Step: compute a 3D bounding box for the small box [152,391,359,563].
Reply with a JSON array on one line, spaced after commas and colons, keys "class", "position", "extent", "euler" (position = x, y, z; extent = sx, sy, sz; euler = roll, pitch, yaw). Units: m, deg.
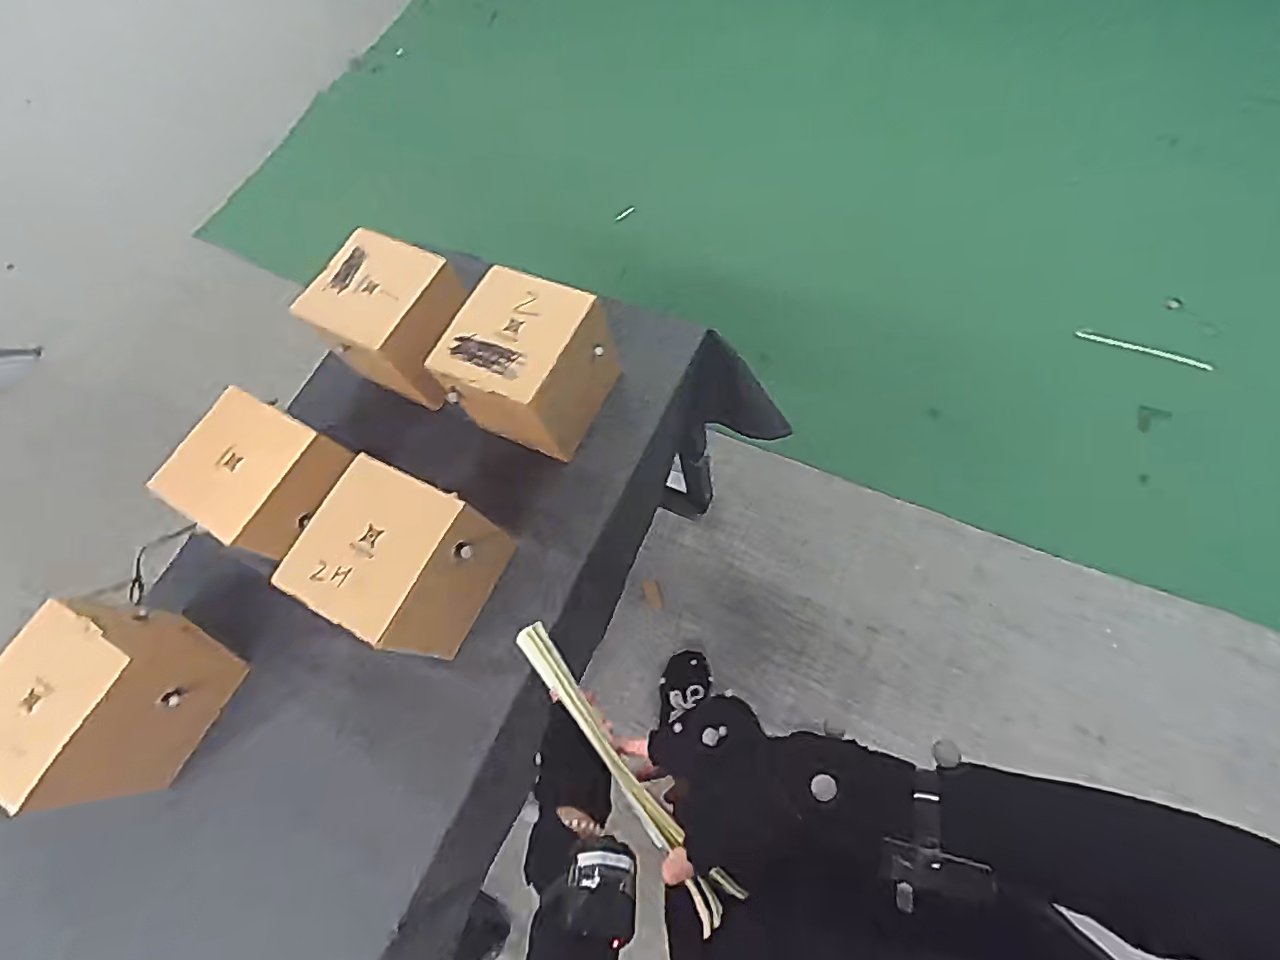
[{"class": "small box", "position": [-0.502, 0.009, 0.761], "extent": [0.179, 0.176, 0.168], "euler": [25, 74, 19]}]

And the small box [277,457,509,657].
[{"class": "small box", "position": [-0.290, 0.103, 0.681], "extent": [0.168, 0.176, 0.179], "euler": [22, 74, 19]}]

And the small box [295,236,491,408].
[{"class": "small box", "position": [-0.369, -0.236, 0.836], "extent": [0.179, 0.176, 0.168], "euler": [25, 74, 18]}]

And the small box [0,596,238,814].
[{"class": "small box", "position": [-0.658, 0.273, 0.675], "extent": [0.168, 0.176, 0.179], "euler": [24, 72, 18]}]
